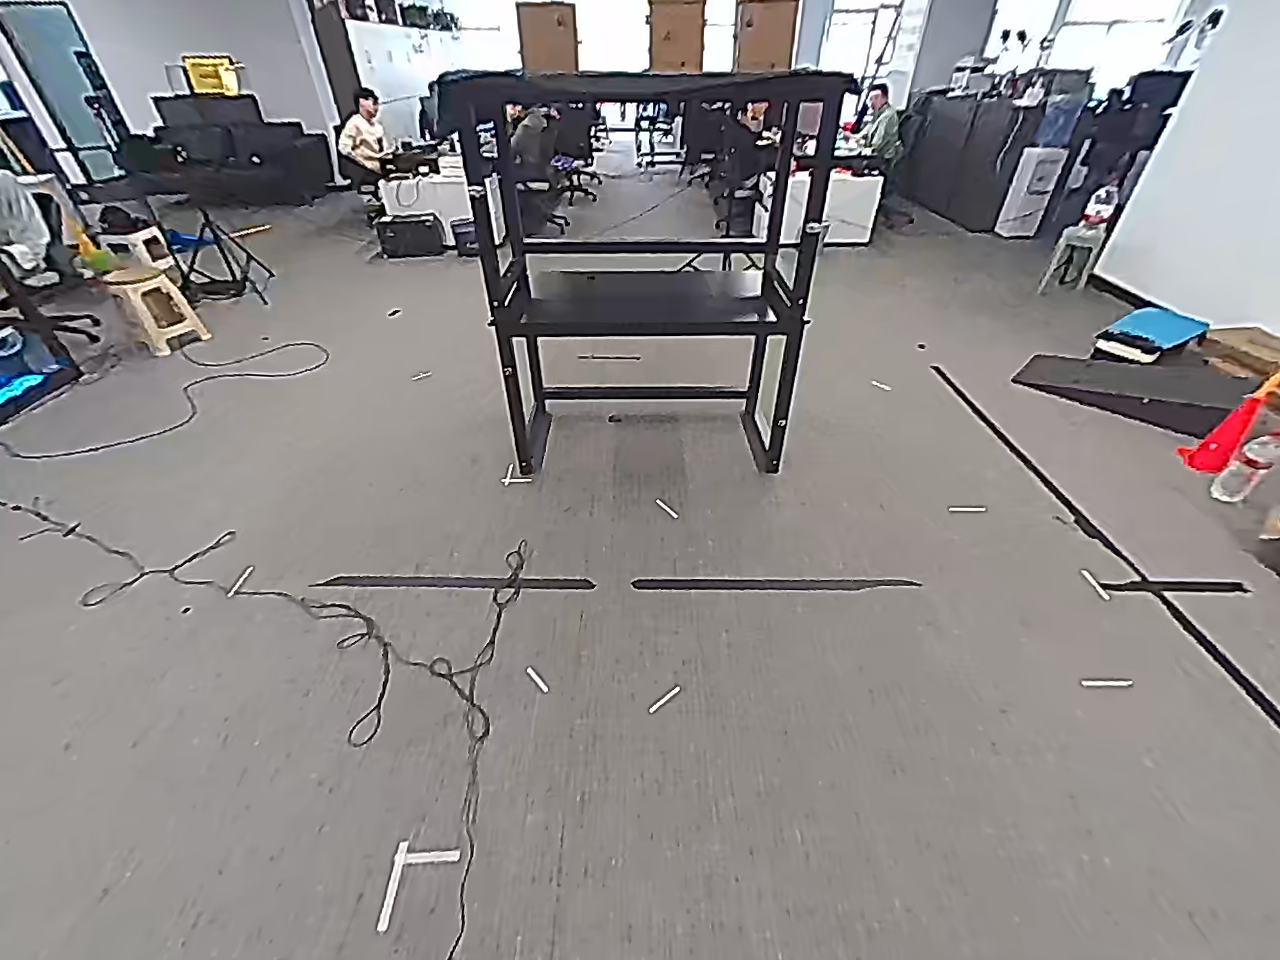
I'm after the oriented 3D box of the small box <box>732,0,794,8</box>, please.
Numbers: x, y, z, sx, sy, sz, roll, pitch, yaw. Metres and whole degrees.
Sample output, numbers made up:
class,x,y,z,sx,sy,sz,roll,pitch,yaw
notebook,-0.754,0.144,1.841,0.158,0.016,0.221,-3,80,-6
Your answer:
class,x,y,z,sx,sy,sz,roll,pitch,yaw
small box,0.364,-1.459,1.535,0.179,0.176,0.168,-1,35,2

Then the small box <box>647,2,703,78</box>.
class,x,y,z,sx,sy,sz,roll,pitch,yaw
small box,0.107,-1.340,1.654,0.168,0.176,0.179,1,37,2

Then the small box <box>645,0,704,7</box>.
class,x,y,z,sx,sy,sz,roll,pitch,yaw
small box,0.103,-1.466,1.547,0.179,0.176,0.168,0,36,4

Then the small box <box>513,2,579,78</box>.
class,x,y,z,sx,sy,sz,roll,pitch,yaw
small box,-0.276,-1.324,1.633,0.179,0.176,0.168,-3,36,-3
